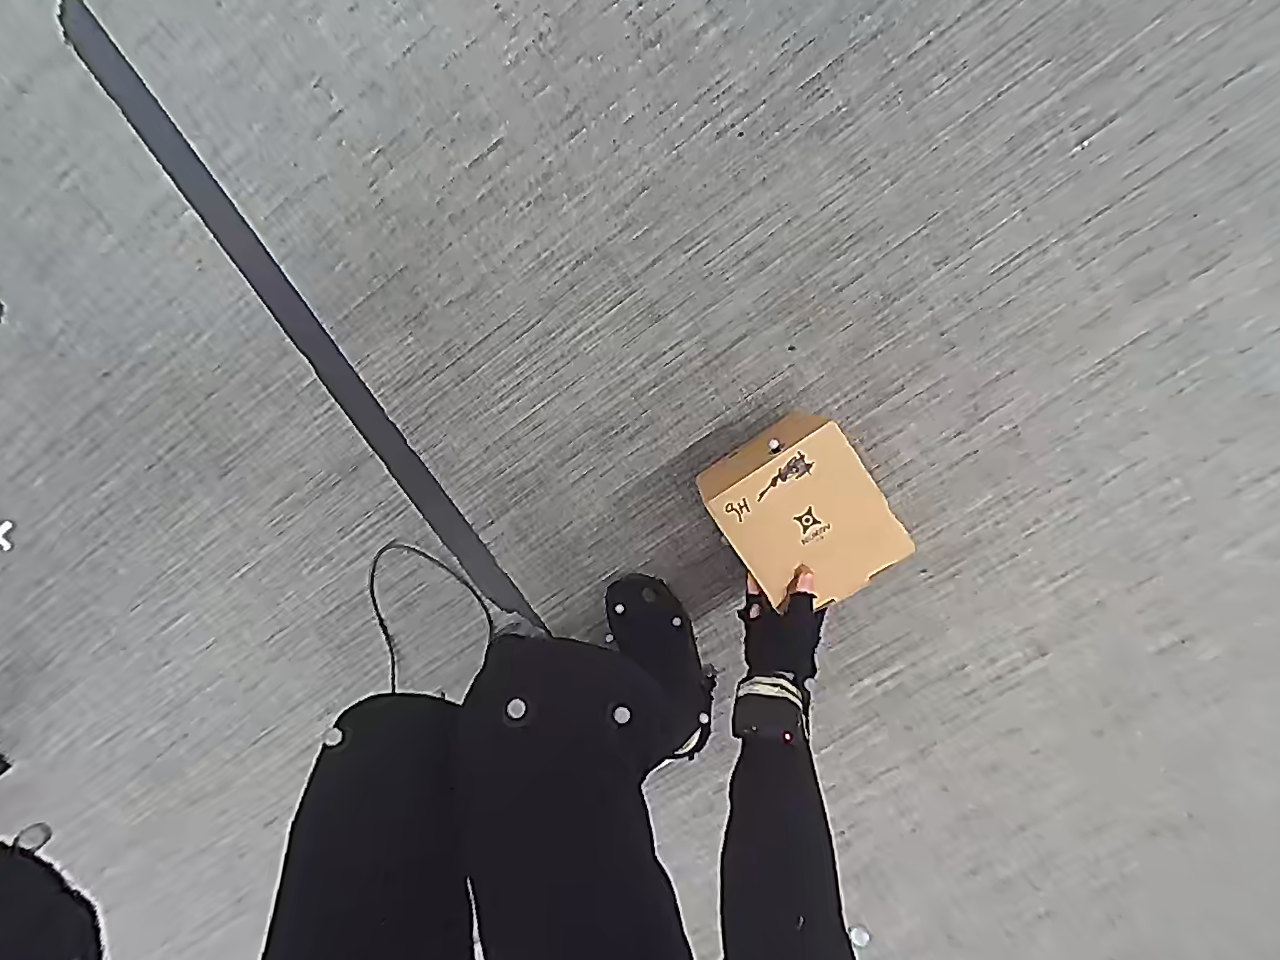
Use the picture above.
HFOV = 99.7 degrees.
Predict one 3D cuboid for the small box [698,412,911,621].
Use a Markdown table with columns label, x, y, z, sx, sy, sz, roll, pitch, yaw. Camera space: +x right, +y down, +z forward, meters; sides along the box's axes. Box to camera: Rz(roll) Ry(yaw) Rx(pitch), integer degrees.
| label | x | y | z | sx | sy | sz | roll | pitch | yaw |
| --- | --- | --- | --- | --- | --- | --- | --- | --- | --- |
| small box | 0.186 | 0.032 | 0.666 | 0.168 | 0.176 | 0.179 | -35 | 97 | 8 |
